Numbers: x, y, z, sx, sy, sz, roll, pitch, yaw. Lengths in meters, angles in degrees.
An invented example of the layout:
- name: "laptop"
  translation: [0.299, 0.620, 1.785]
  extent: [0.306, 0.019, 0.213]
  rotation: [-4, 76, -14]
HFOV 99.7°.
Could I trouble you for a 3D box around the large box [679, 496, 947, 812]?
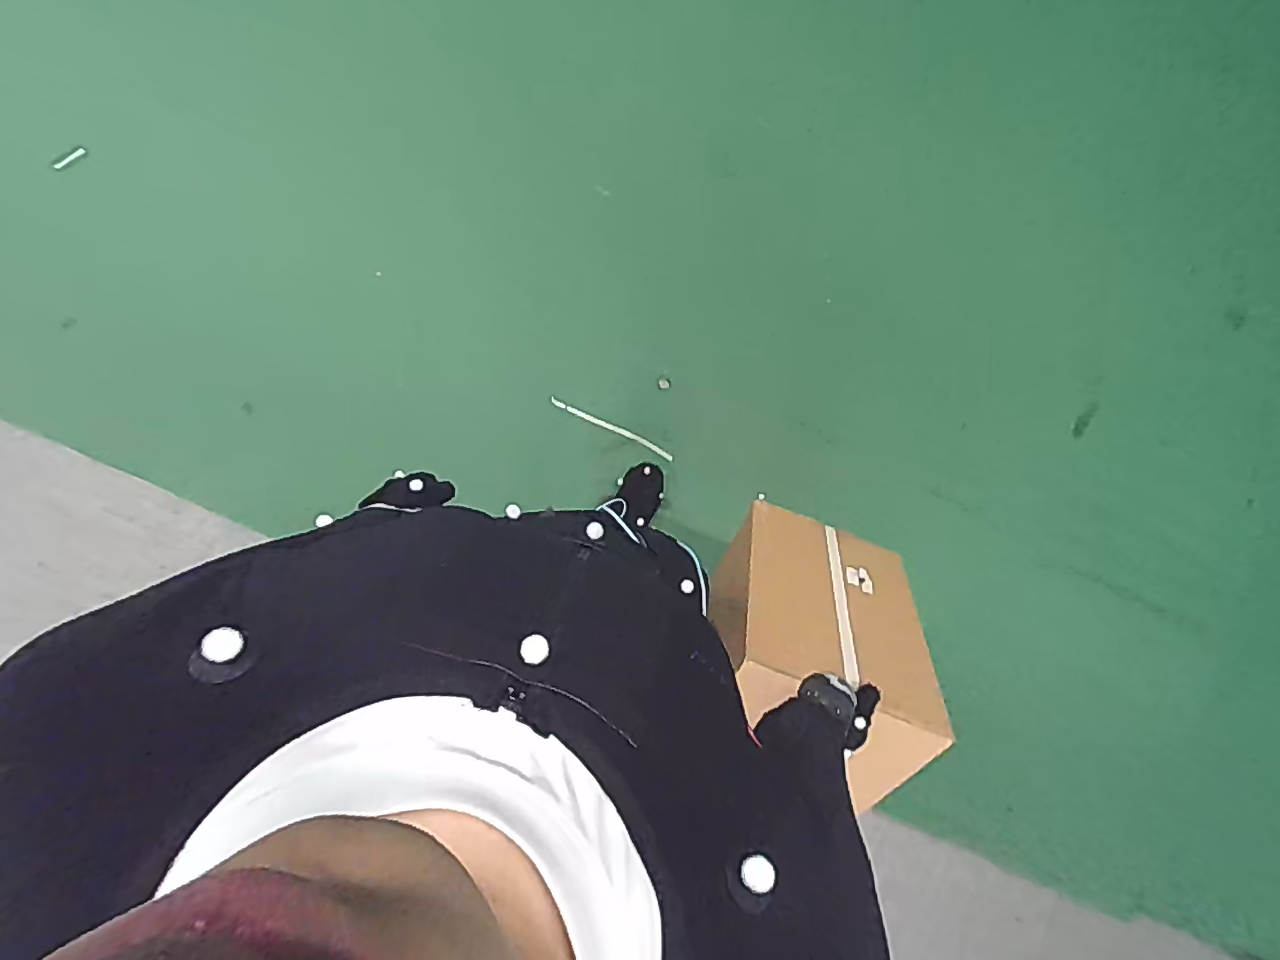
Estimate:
- name: "large box"
  translation: [0.286, 0.305, 1.004]
  extent: [0.320, 0.408, 0.320]
  rotation: [23, 124, -1]
